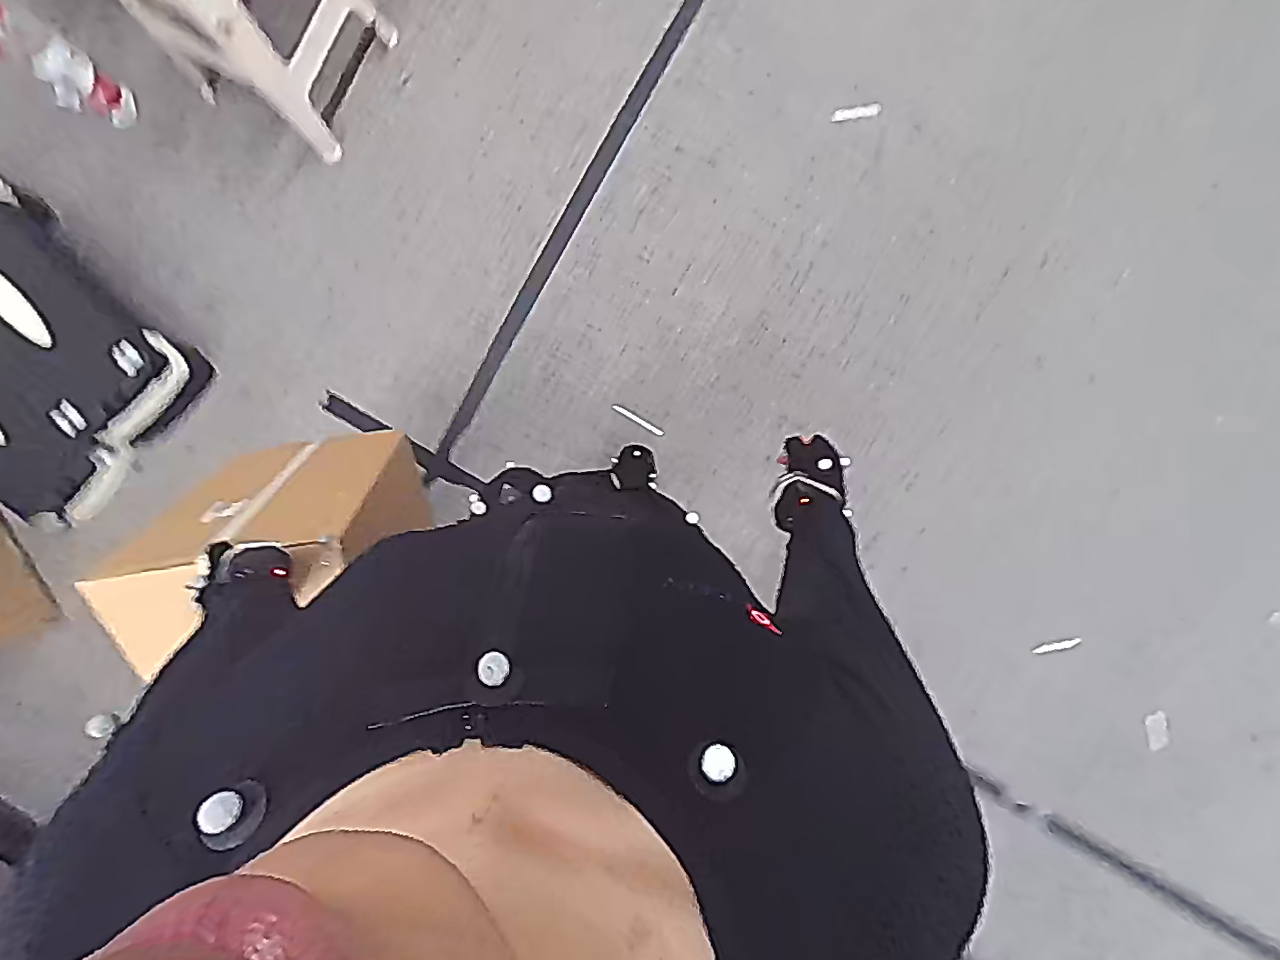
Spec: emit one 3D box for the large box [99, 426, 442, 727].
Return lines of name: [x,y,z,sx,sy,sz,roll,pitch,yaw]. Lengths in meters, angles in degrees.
large box: [-0.557,0.136,0.935,0.320,0.408,0.320,-9,119,-6]
